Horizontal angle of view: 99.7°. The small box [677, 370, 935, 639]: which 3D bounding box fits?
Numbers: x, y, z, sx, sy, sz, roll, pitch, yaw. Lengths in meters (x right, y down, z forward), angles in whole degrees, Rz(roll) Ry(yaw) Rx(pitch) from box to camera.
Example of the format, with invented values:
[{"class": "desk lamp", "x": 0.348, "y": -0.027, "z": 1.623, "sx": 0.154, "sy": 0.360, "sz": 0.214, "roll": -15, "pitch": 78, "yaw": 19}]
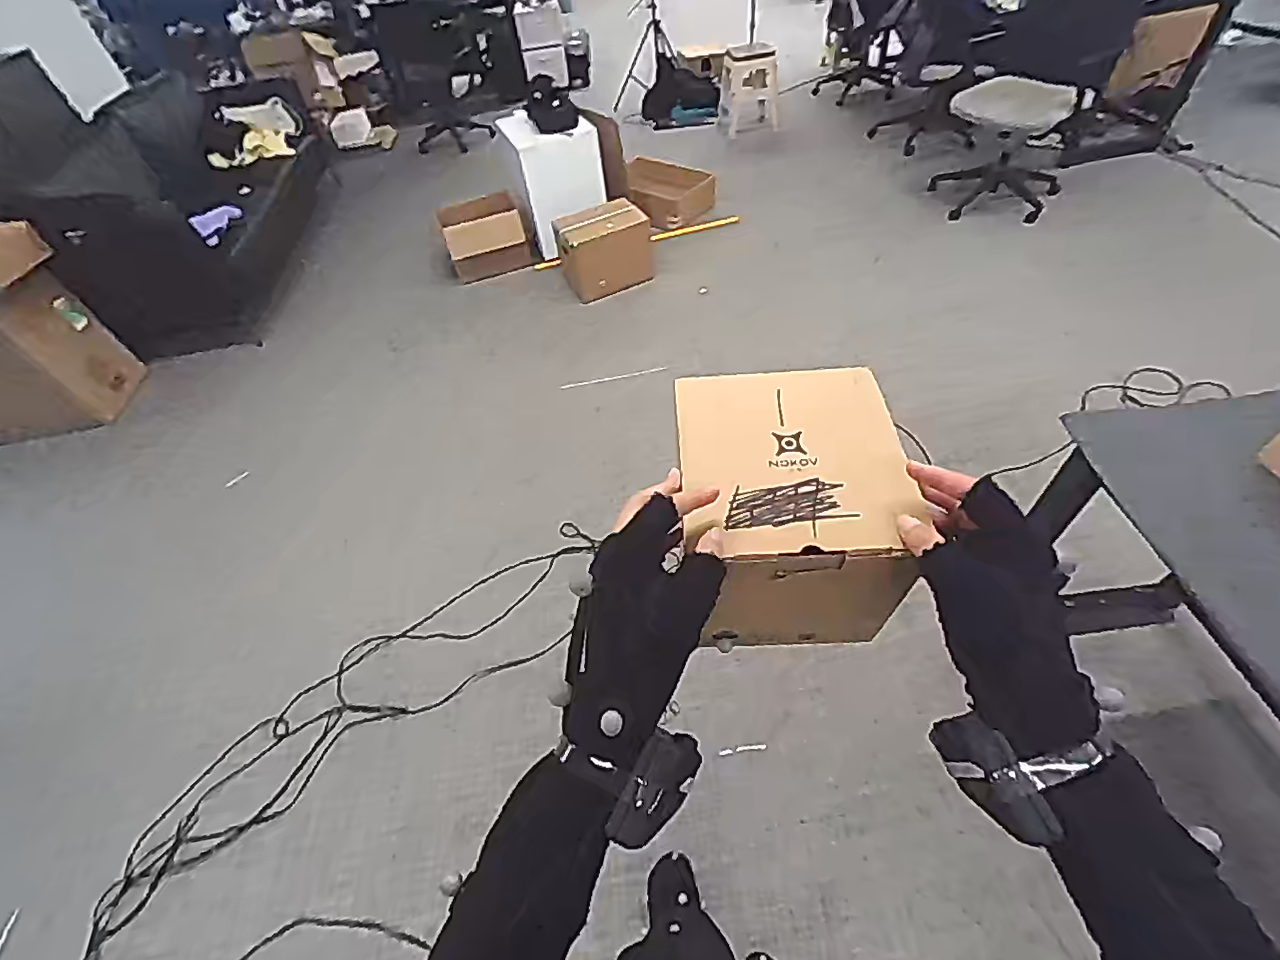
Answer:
[{"class": "small box", "x": 0.120, "y": 0.029, "z": 0.469, "sx": 0.168, "sy": 0.176, "sz": 0.179, "roll": -3, "pitch": 52, "yaw": 3}]
